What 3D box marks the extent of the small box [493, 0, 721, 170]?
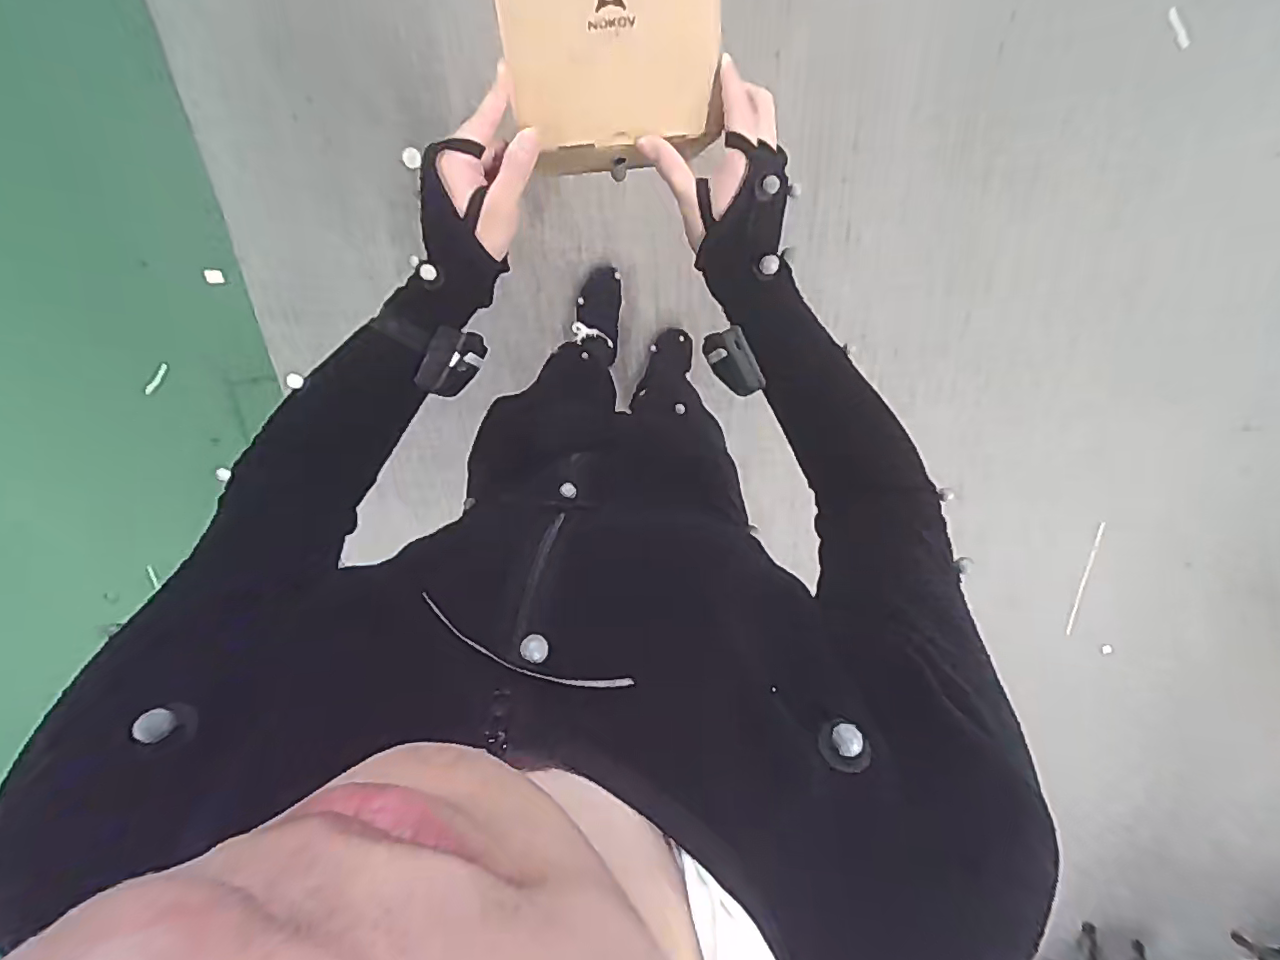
[{"bbox_3d":[-0.027,-0.373,0.462,0.168,0.176,0.179,-7,116,-1],"label":"small box"}]
